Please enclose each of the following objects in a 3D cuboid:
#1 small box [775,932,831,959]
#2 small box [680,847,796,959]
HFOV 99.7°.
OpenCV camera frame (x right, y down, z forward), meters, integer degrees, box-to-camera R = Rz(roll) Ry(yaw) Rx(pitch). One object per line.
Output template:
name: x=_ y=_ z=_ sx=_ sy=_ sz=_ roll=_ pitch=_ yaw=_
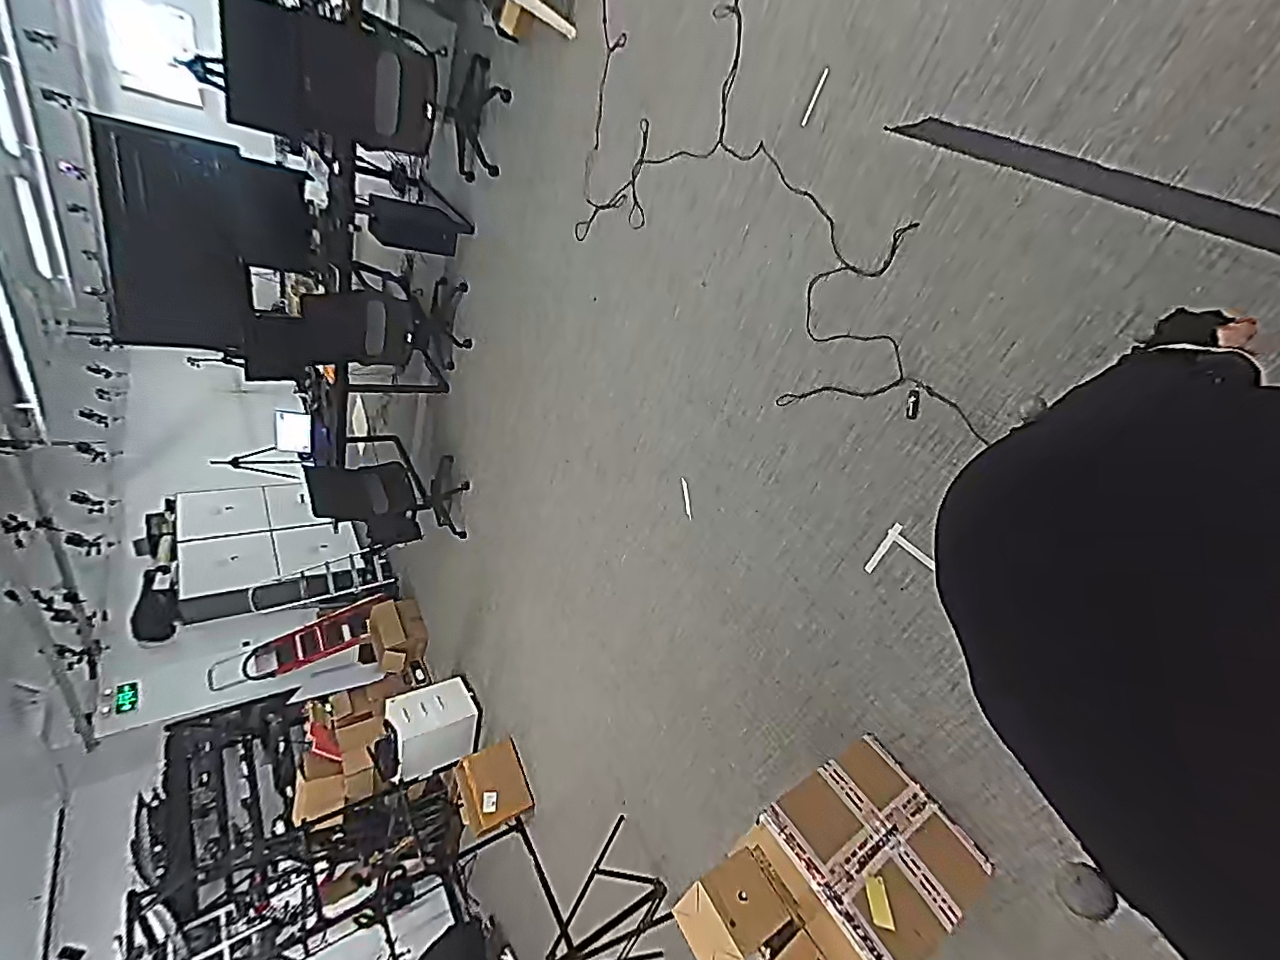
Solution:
small box: x=0.335 y=1.121 z=1.143 sx=0.168 sy=0.176 sz=0.179 roll=45 pitch=127 yaw=36
small box: x=0.223 y=1.018 z=1.266 sx=0.168 sy=0.176 sz=0.179 roll=49 pitch=130 yaw=40
